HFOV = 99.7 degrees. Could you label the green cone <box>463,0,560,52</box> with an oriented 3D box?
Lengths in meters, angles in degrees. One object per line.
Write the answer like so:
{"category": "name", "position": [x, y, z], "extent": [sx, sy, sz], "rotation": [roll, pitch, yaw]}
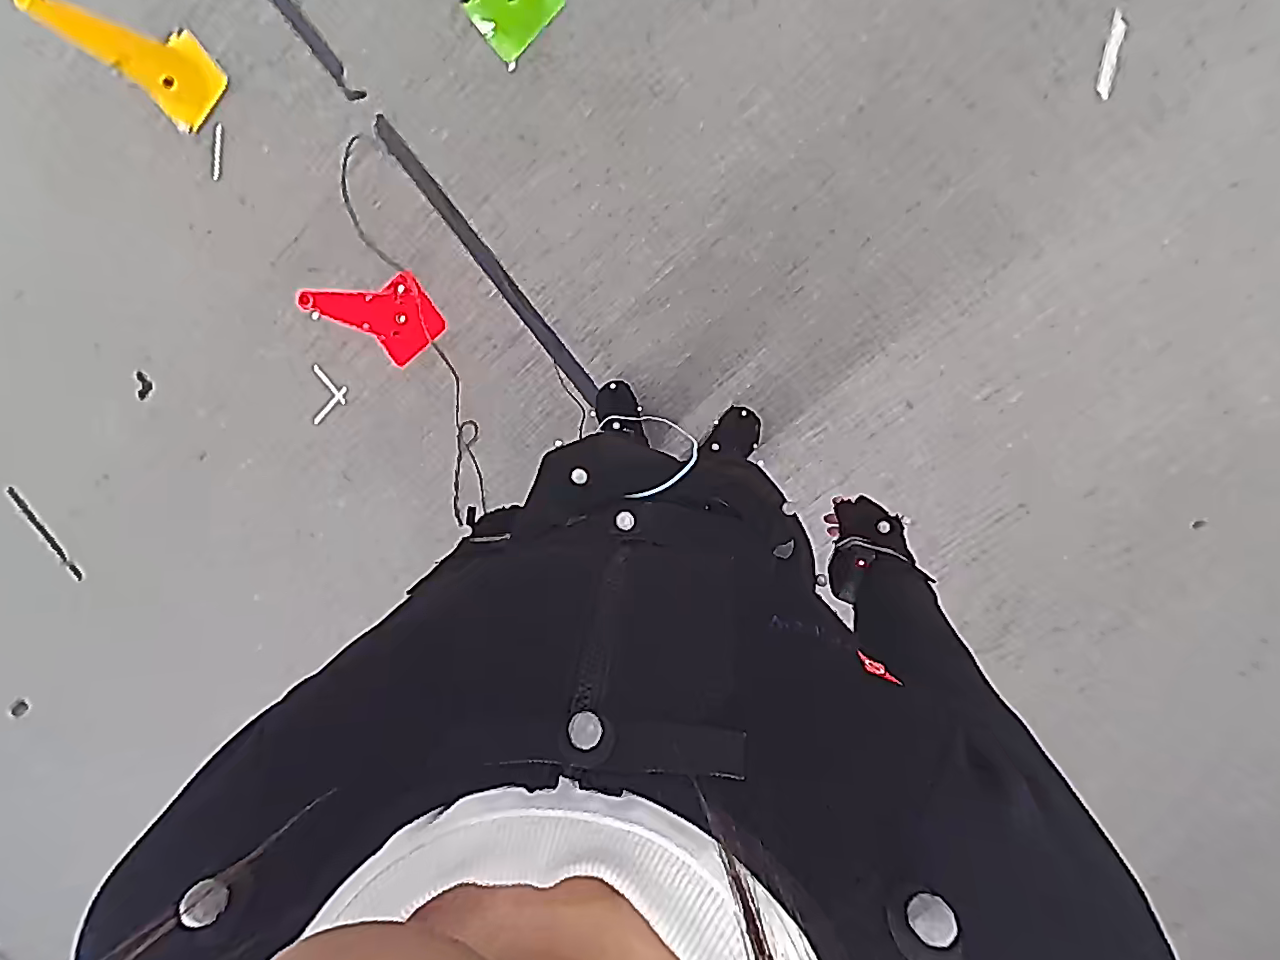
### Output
{"category": "green cone", "position": [-0.336, -1.133, 1.120], "extent": [0.202, 0.368, 0.200], "rotation": [-38, 92, 14]}

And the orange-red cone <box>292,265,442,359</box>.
{"category": "orange-red cone", "position": [-0.693, -0.429, 1.322], "extent": [0.199, 0.360, 0.198], "rotation": [-33, 92, 16]}
